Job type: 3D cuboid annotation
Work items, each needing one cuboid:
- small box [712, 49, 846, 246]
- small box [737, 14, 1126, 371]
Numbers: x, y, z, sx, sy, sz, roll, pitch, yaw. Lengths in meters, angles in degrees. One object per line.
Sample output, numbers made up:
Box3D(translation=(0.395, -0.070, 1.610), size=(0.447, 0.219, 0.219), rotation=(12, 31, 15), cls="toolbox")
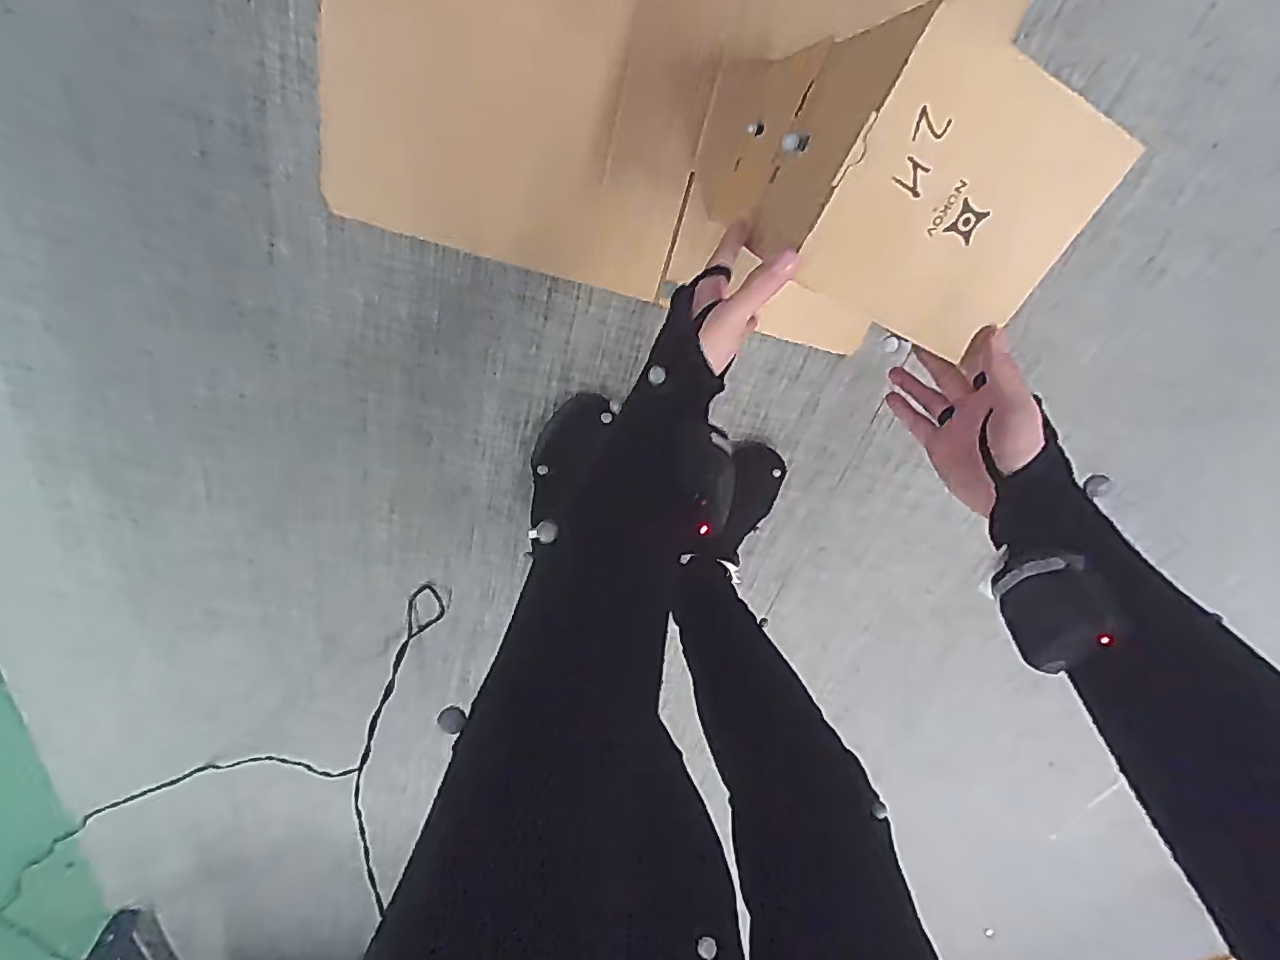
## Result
Box3D(translation=(0.195, -0.310, 0.569), size=(0.179, 0.176, 0.168), rotation=(17, 119, -13), cls="small box")
Box3D(translation=(0.202, -0.217, 0.432), size=(0.179, 0.176, 0.168), rotation=(21, 118, -15), cls="small box")
